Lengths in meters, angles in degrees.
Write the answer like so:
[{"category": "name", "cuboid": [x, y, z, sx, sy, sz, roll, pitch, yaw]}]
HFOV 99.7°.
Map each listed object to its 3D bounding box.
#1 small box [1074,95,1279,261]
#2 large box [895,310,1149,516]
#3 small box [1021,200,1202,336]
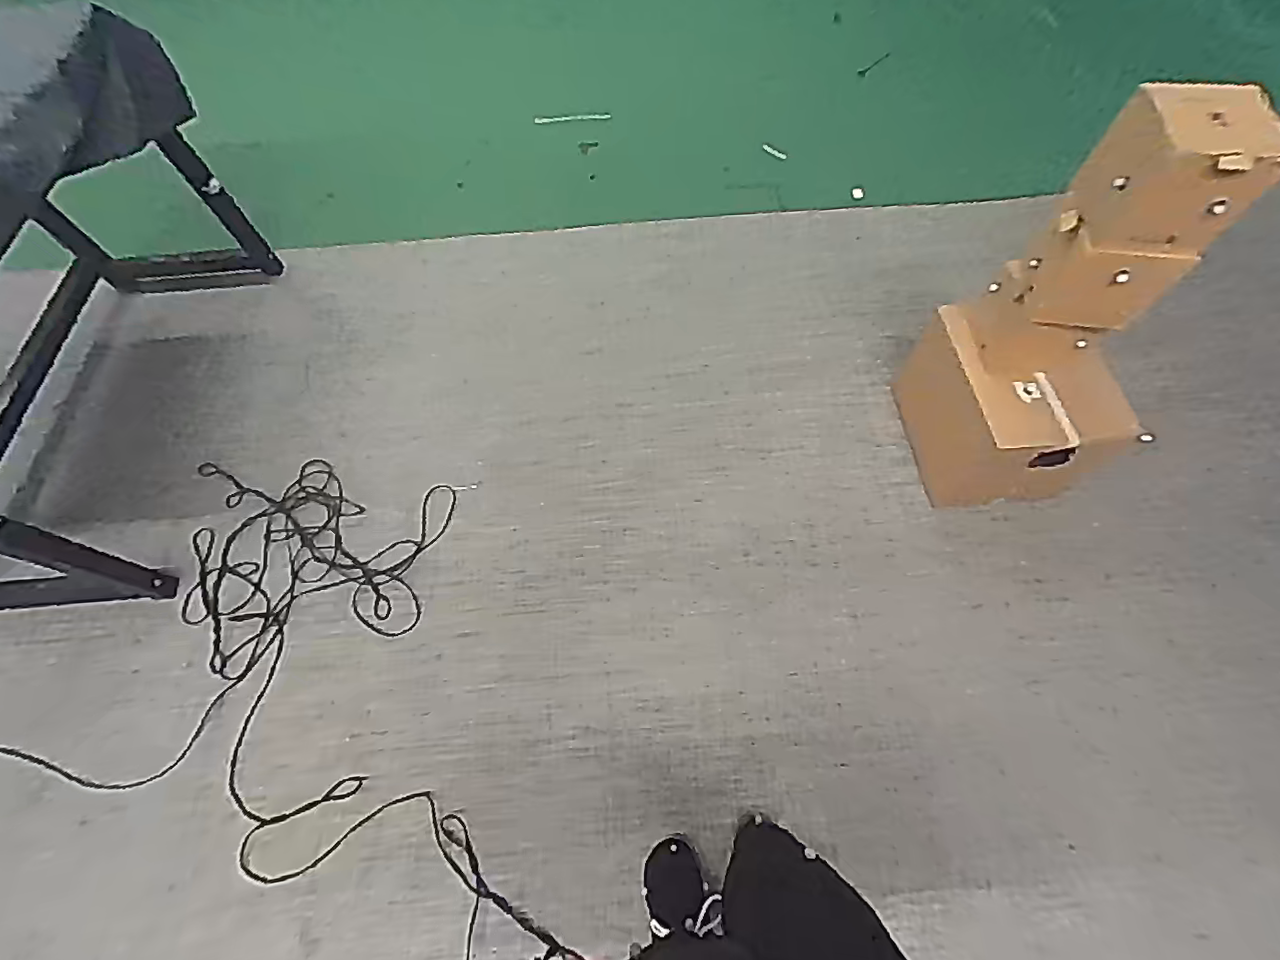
[{"category": "small box", "cuboid": [0.847, -0.475, 0.861, 0.168, 0.176, 0.179, 5, 63, 4]}, {"category": "large box", "cuboid": [0.891, -0.160, 1.337, 0.320, 0.320, 0.408, -5, 64, 1]}, {"category": "small box", "cuboid": [0.852, -0.387, 0.999, 0.179, 0.176, 0.168, 8, 64, 7]}]
